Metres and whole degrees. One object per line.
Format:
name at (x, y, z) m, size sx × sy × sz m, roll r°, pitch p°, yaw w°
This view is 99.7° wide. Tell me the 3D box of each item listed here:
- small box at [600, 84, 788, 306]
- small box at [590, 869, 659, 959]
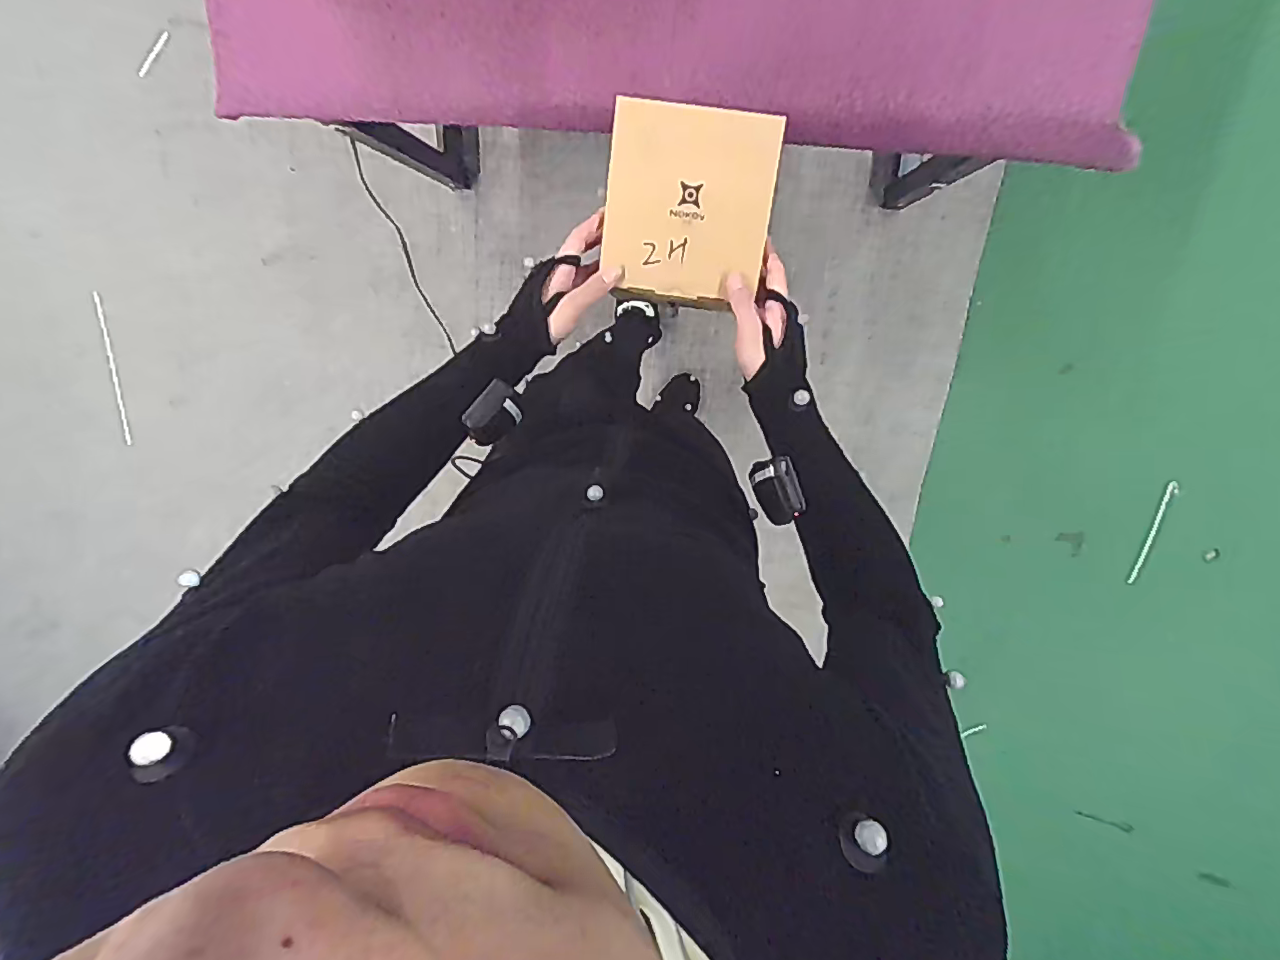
small box at (0.053, -0.303, 0.612) m, size 0.168 × 0.176 × 0.179 m, roll 8°, pitch 105°, yaw 0°
small box at (-0.041, 1.239, 1.509) m, size 0.168 × 0.176 × 0.179 m, roll 8°, pitch 108°, yaw 2°
